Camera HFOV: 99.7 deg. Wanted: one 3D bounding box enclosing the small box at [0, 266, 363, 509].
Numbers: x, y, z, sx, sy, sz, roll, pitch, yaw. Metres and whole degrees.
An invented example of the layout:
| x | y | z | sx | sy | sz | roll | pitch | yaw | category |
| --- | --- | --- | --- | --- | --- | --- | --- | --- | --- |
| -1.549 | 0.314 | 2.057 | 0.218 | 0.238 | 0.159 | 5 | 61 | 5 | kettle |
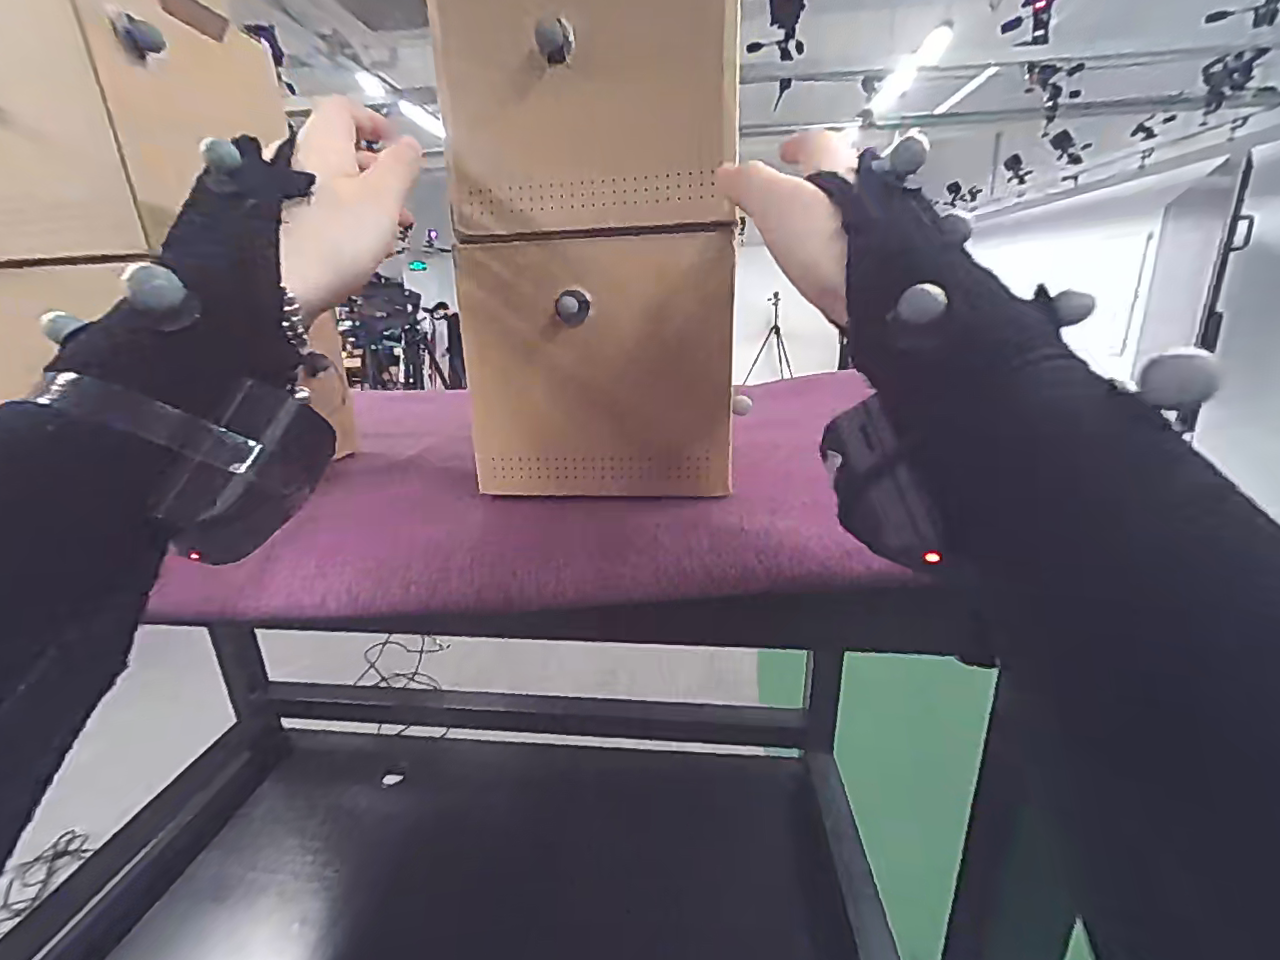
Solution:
| x | y | z | sx | sy | sz | roll | pitch | yaw | category |
| --- | --- | --- | --- | --- | --- | --- | --- | --- | --- |
| -0.362 | -0.079 | 0.448 | 0.179 | 0.176 | 0.168 | -1 | 17 | 5 | small box |

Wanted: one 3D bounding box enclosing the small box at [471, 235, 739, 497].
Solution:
| x | y | z | sx | sy | sz | roll | pitch | yaw | category |
| --- | --- | --- | --- | --- | --- | --- | --- | --- | --- |
| -0.013 | -0.086 | 0.433 | 0.179 | 0.176 | 0.168 | 1 | 15 | 7 | small box |

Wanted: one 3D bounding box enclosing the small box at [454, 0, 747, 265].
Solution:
| x | y | z | sx | sy | sz | roll | pitch | yaw | category |
| --- | --- | --- | --- | --- | --- | --- | --- | --- | --- |
| -0.015 | -0.245 | 0.393 | 0.179 | 0.176 | 0.168 | 0 | 15 | 8 | small box |
